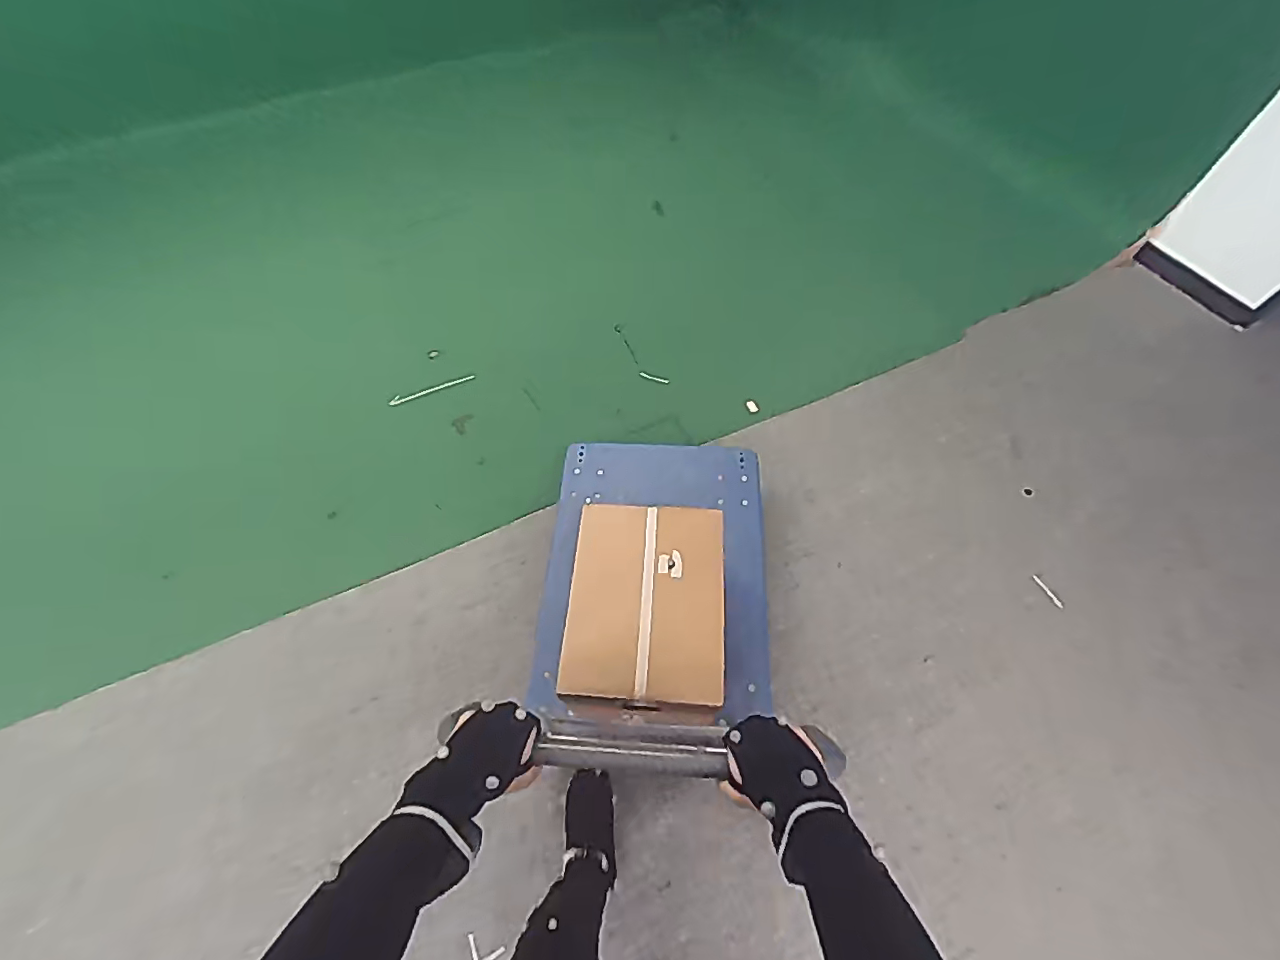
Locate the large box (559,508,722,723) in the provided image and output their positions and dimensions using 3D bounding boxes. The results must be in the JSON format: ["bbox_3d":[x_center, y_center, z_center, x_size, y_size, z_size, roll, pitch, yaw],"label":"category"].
[{"bbox_3d":[0.016,0.317,1.242,0.320,0.320,0.408,3,59,3],"label":"large box"}]
